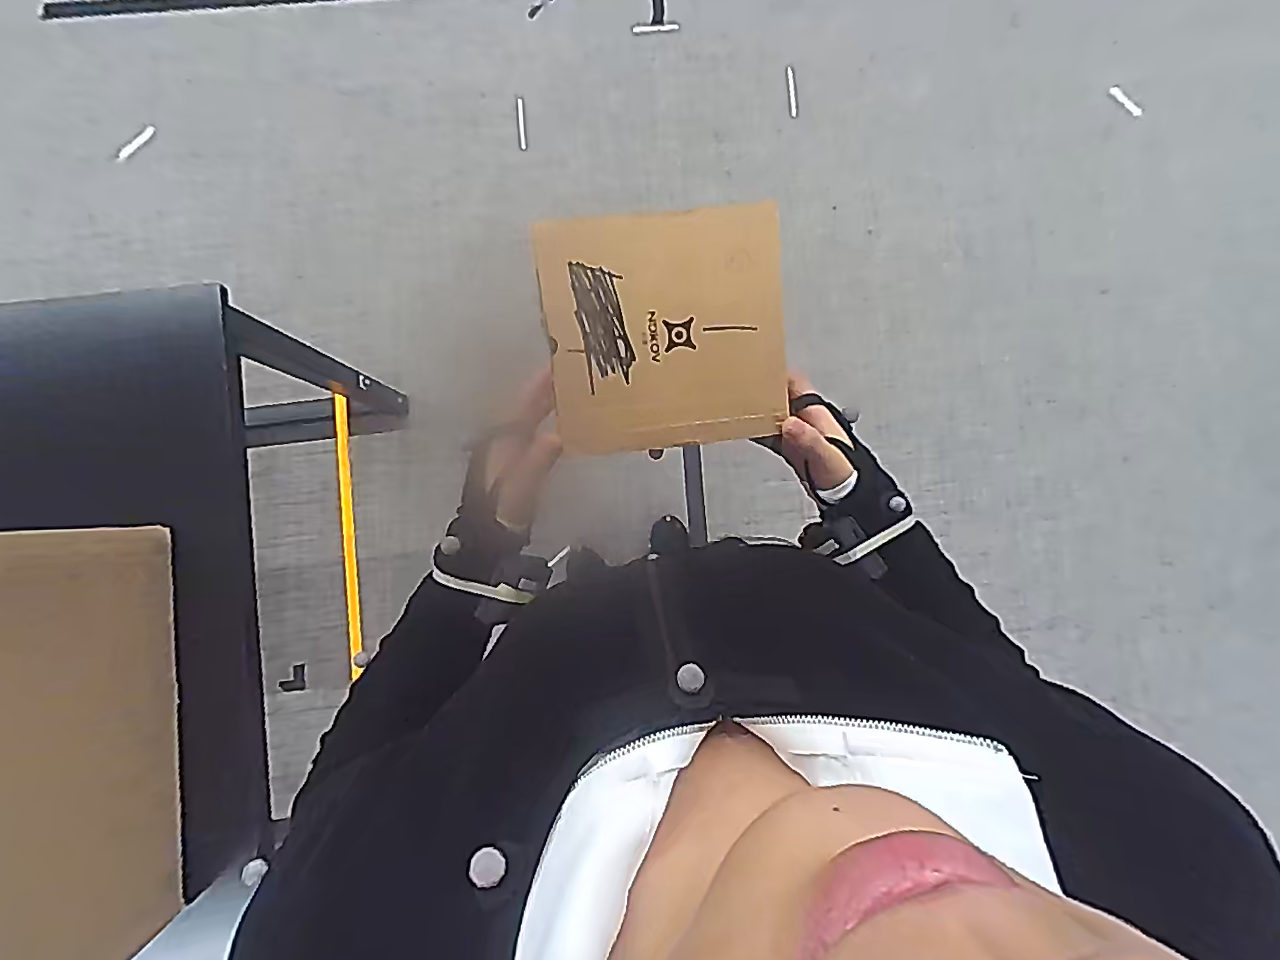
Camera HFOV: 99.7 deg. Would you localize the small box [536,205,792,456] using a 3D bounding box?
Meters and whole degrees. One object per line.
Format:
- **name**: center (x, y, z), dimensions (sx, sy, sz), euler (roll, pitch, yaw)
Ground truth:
- **small box**: center (0.016, -0.119, 0.466), dimensions (0.179, 0.176, 0.168), euler (-7, 102, -4)
